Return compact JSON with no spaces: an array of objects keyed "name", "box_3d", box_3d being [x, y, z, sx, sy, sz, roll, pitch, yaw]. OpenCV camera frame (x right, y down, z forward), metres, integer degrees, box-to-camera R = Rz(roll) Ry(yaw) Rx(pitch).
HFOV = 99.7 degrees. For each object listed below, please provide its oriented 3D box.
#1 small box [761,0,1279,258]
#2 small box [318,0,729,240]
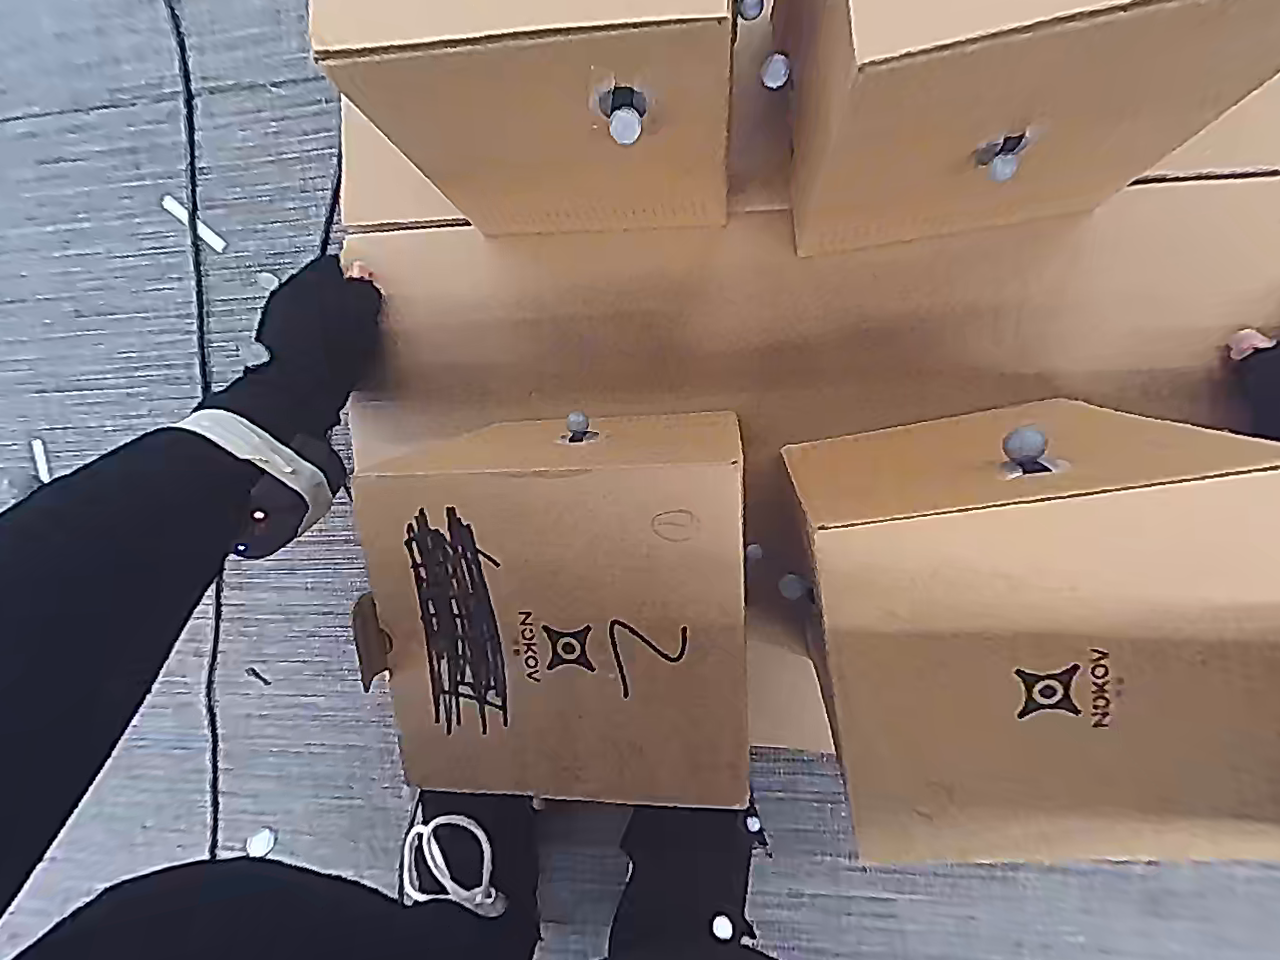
[{"name":"small box","box_3d":[0.160,-0.233,0.269,0.179,0.176,0.168,-6,89,10]},{"name":"small box","box_3d":[-0.041,-0.251,0.303,0.179,0.176,0.168,3,90,9]}]
